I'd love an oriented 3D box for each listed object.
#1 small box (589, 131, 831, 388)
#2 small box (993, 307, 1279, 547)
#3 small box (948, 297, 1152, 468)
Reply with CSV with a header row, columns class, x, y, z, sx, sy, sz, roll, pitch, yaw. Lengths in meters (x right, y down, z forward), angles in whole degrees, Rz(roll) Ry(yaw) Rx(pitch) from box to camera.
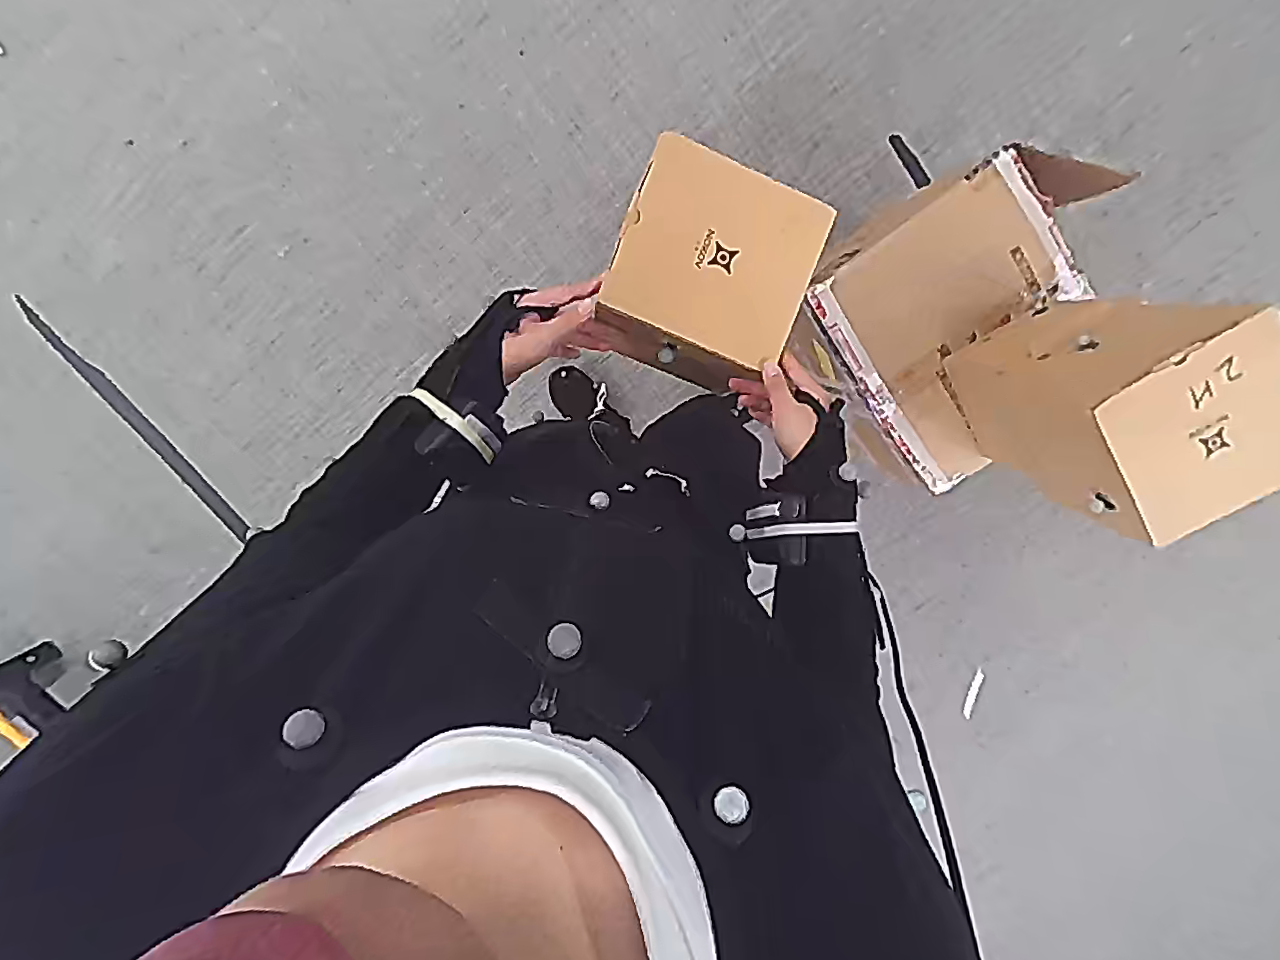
class,x,y,z,sx,sy,sz,roll,pitch,yaw
small box,0.057,-0.203,0.558,0.179,0.176,0.168,21,90,-5
small box,0.528,-0.066,0.574,0.168,0.176,0.179,-33,103,11
small box,0.557,-0.123,0.728,0.168,0.176,0.179,-30,104,11
